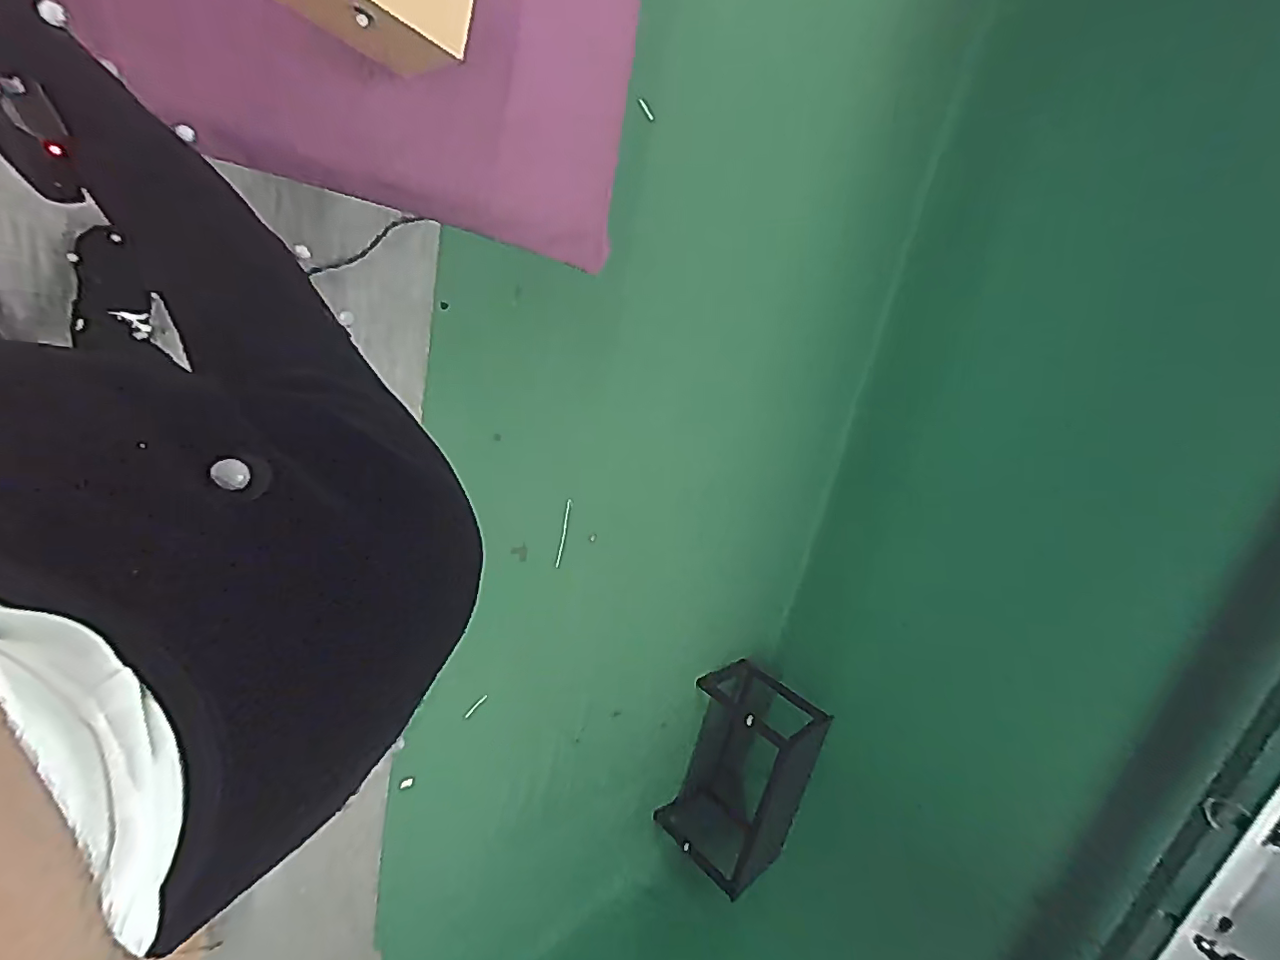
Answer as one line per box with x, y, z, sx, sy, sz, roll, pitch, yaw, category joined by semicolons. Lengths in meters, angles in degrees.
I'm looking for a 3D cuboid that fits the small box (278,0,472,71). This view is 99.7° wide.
-0.308;-0.612;0.625;0.179;0.176;0.168;3;108;-49;small box

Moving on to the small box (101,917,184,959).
-1.483;1.472;1.607;0.179;0.176;0.168;-2;112;-47;small box
